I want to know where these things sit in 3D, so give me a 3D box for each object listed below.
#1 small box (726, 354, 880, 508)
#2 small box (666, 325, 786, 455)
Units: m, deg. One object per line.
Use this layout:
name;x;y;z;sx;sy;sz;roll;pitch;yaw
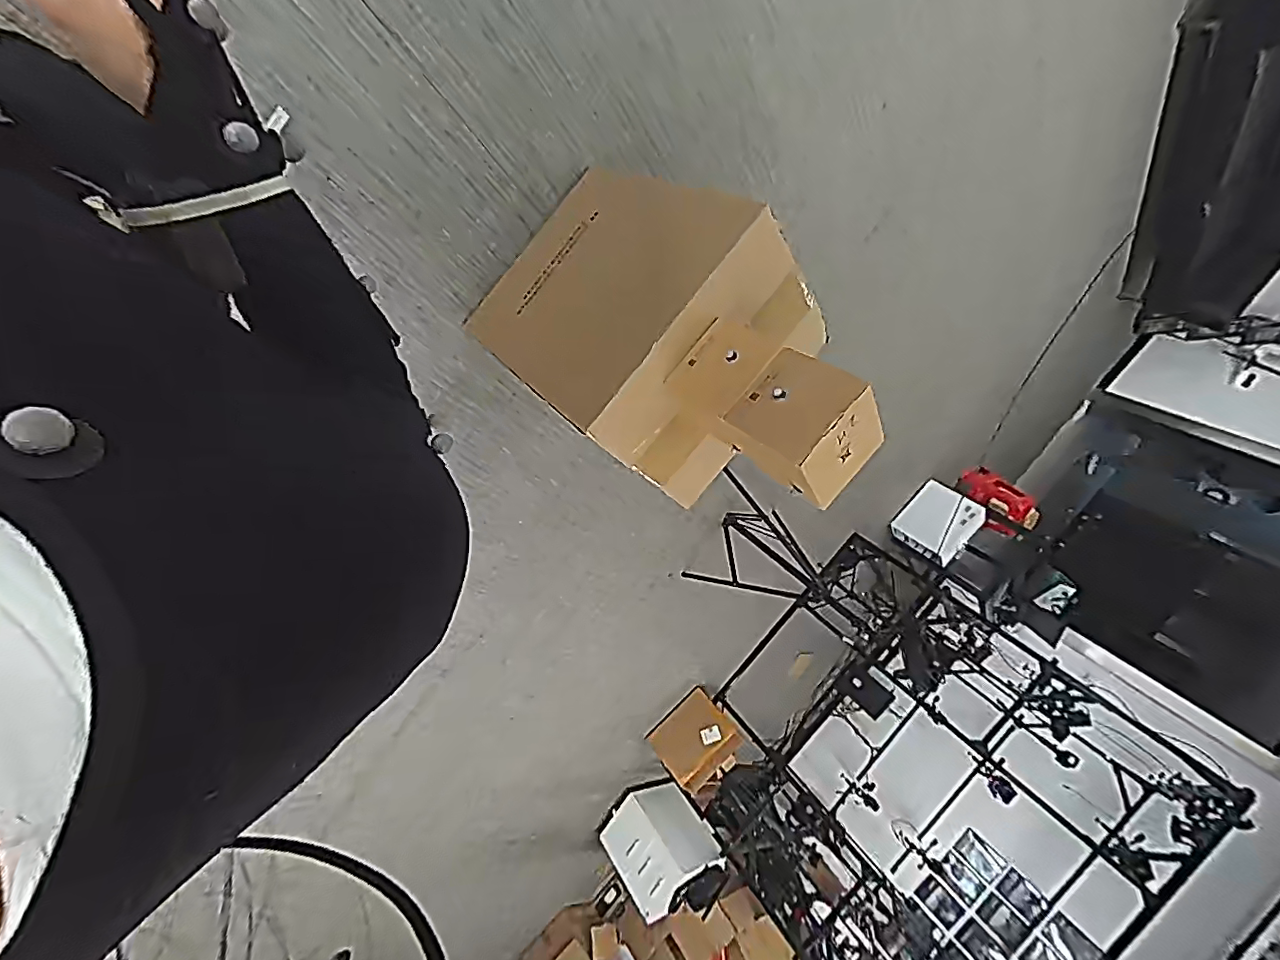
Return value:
small box;0.278;-0.087;0.926;0.168;0.176;0.179;-49;140;-3
small box;0.179;-0.172;1.027;0.168;0.176;0.179;-50;140;-1
